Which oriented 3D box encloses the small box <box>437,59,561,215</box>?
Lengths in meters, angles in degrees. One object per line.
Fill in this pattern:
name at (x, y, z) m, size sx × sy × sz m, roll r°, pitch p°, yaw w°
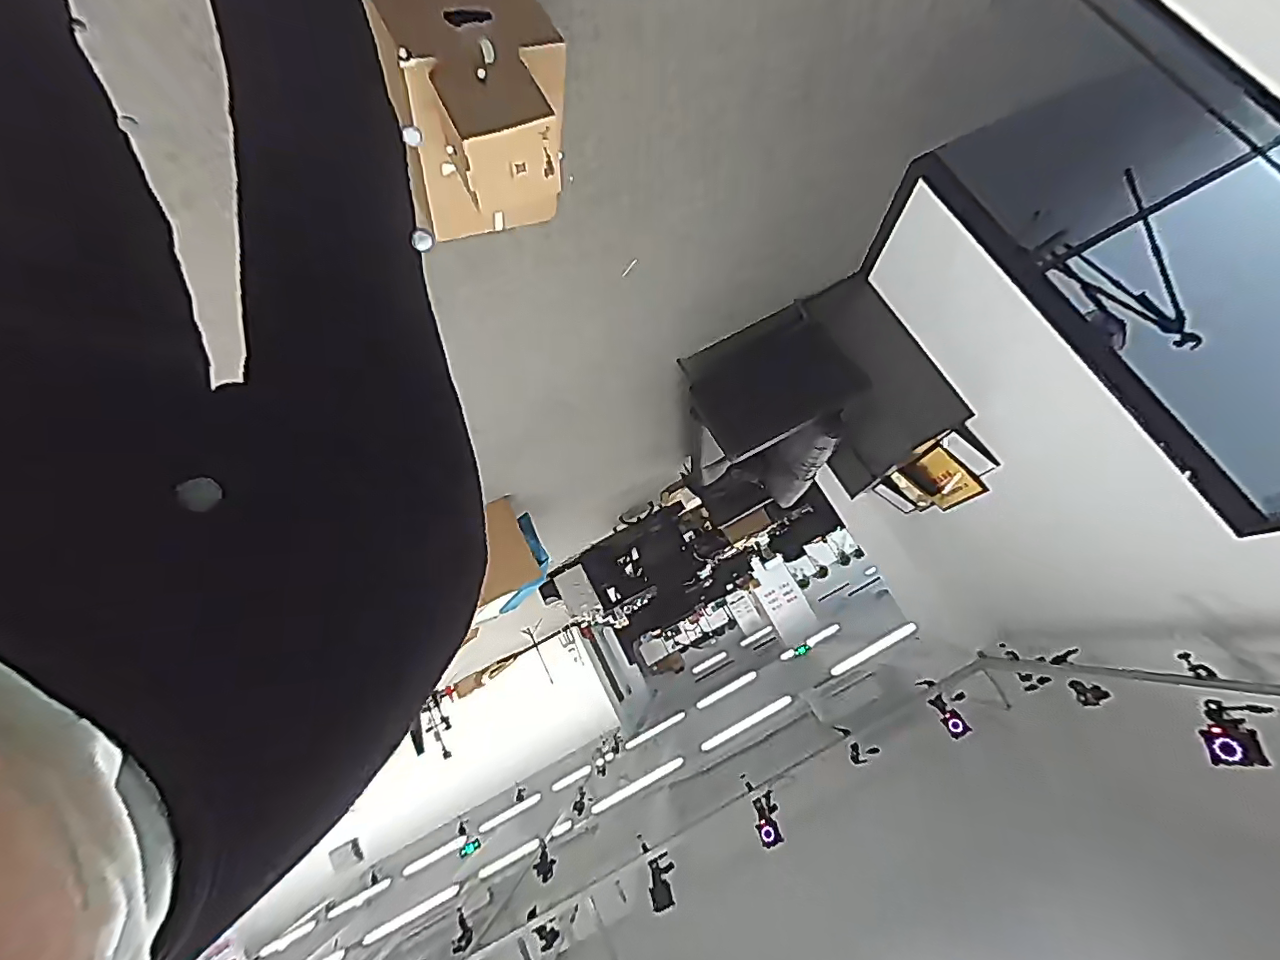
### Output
small box at (-0.266, -0.648, 1.023) m, size 0.179 × 0.176 × 0.168 m, roll -24°, pitch 164°, yaw -13°
